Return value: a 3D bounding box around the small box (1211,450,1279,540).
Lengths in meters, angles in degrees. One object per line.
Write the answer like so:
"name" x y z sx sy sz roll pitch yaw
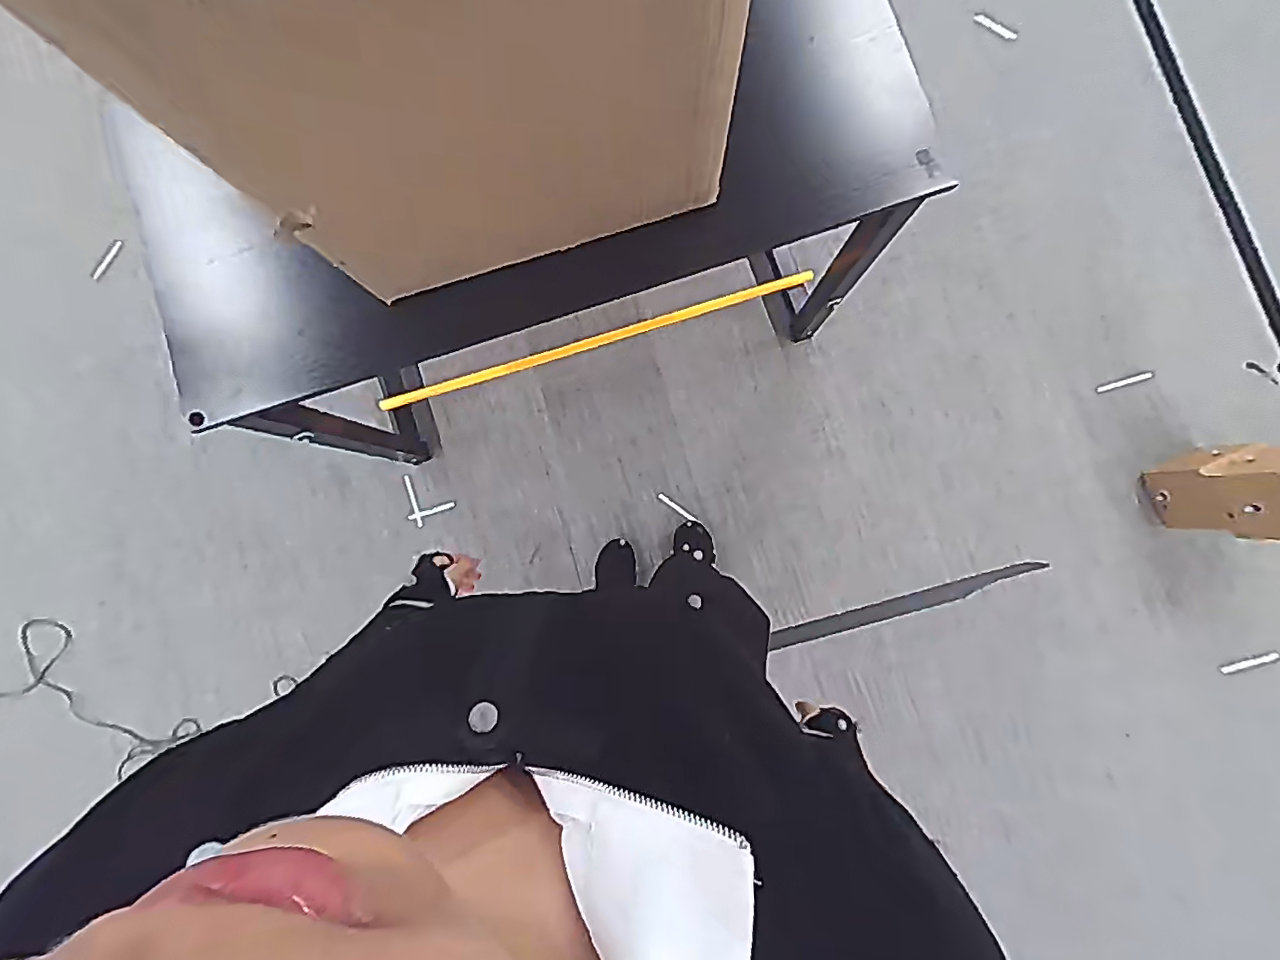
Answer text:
"small box" 1.454 0.032 1.210 0.179 0.176 0.168 -24 85 1

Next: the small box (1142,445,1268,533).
"small box" 1.457 0.026 1.375 0.179 0.176 0.168 -23 85 2
